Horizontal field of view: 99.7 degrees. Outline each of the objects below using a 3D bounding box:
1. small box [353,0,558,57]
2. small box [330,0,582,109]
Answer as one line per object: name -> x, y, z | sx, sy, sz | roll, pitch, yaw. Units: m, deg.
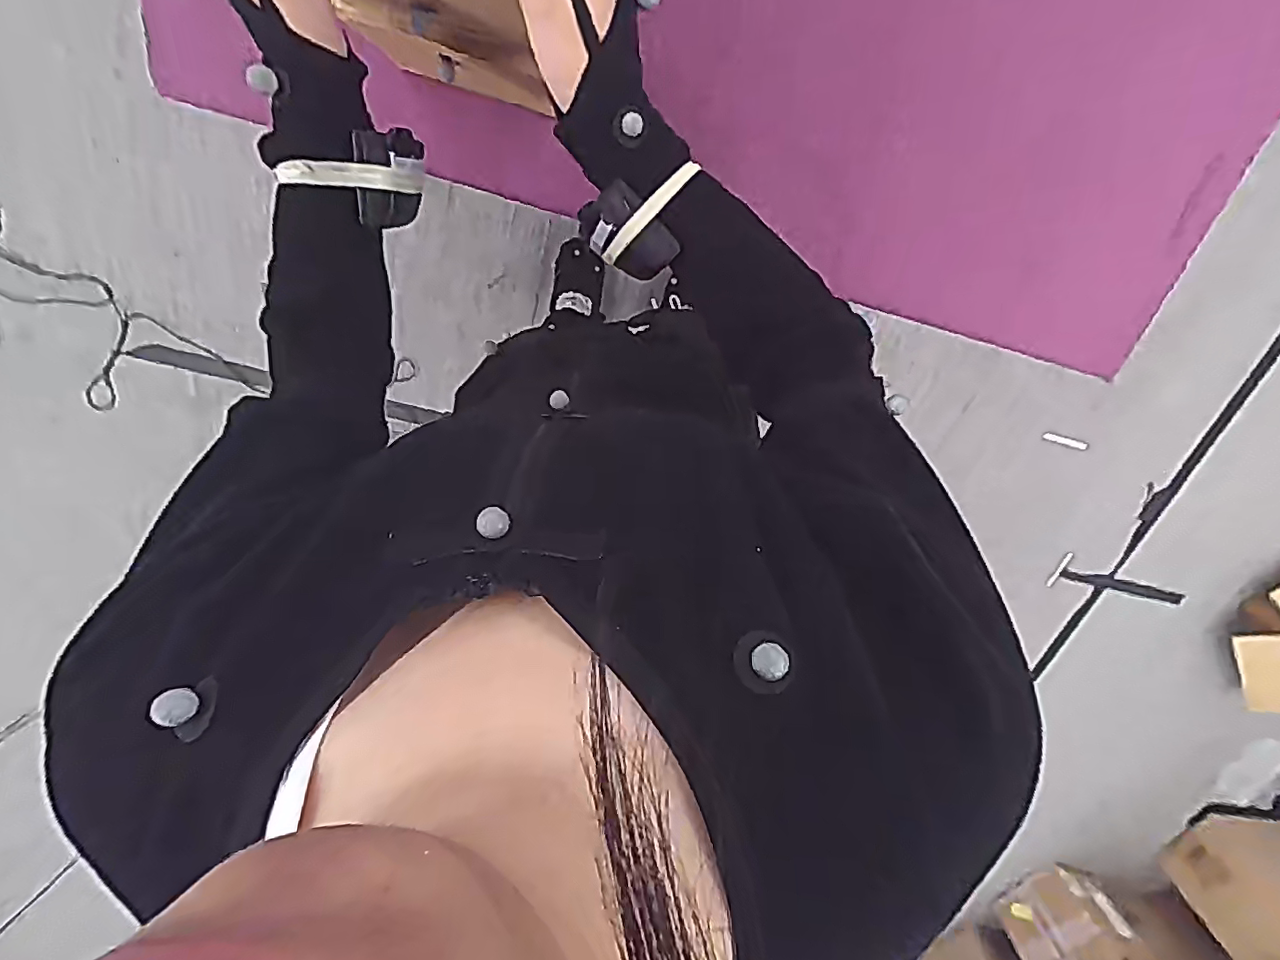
small box -> -0.127, -0.394, 0.317 | 0.168, 0.176, 0.179 | 10, 115, -8
small box -> -0.140, -0.450, 0.472 | 0.179, 0.176, 0.168 | 12, 114, -9
